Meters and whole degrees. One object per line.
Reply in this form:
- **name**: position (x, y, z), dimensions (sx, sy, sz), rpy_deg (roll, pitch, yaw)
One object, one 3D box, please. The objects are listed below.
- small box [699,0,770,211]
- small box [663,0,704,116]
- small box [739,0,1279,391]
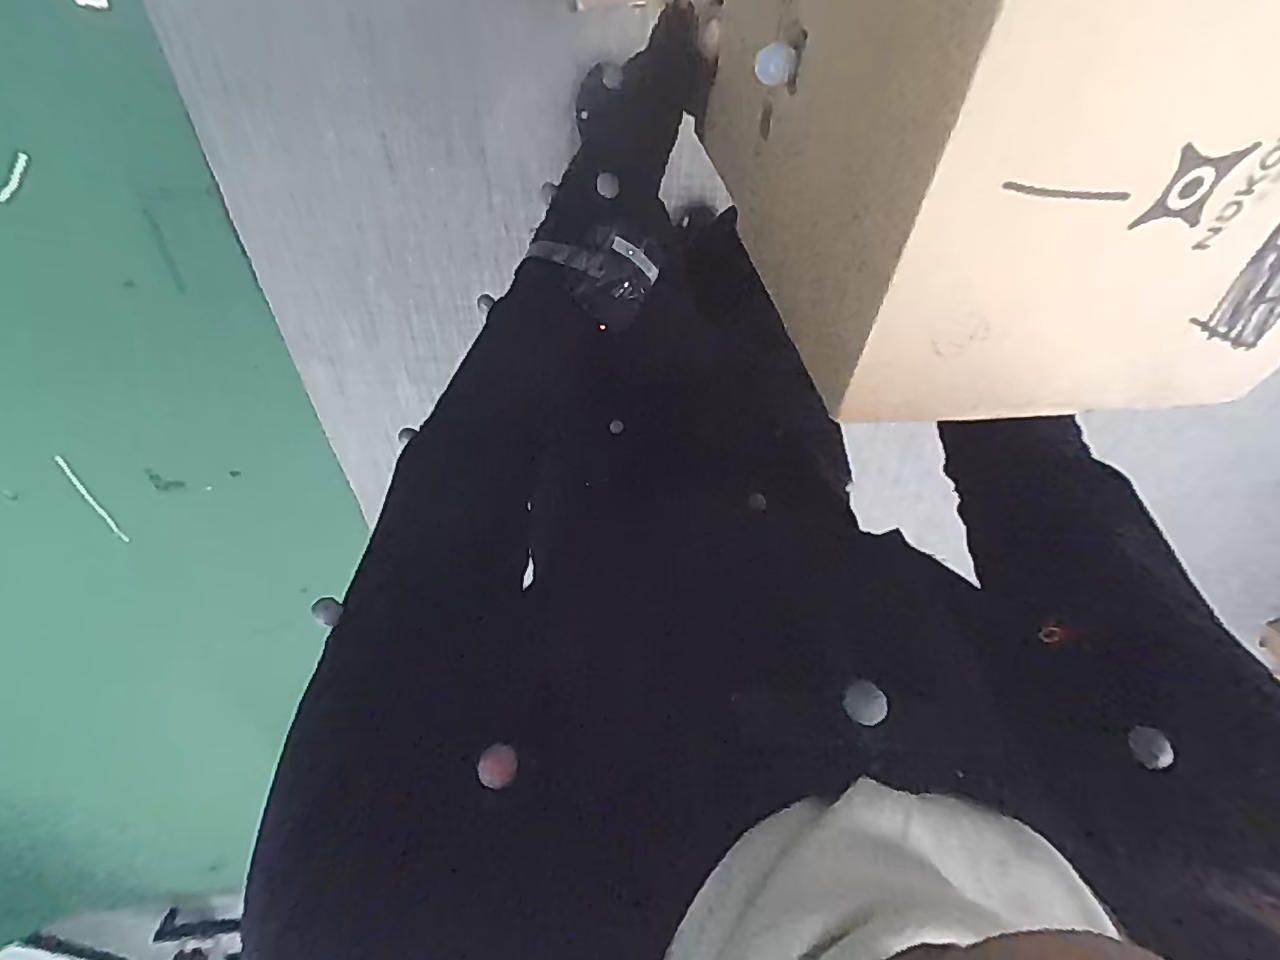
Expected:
- **small box**: position (0.134, -0.282, 0.320), dimensions (0.168, 0.176, 0.179), rpy_deg (-4, 139, -5)
- **small box**: position (0.116, -0.404, 0.427), dimensions (0.179, 0.176, 0.168), rpy_deg (-5, 138, -6)
- **small box**: position (0.153, -0.154, 0.216), dimensions (0.179, 0.176, 0.168), rpy_deg (-3, 137, -5)
